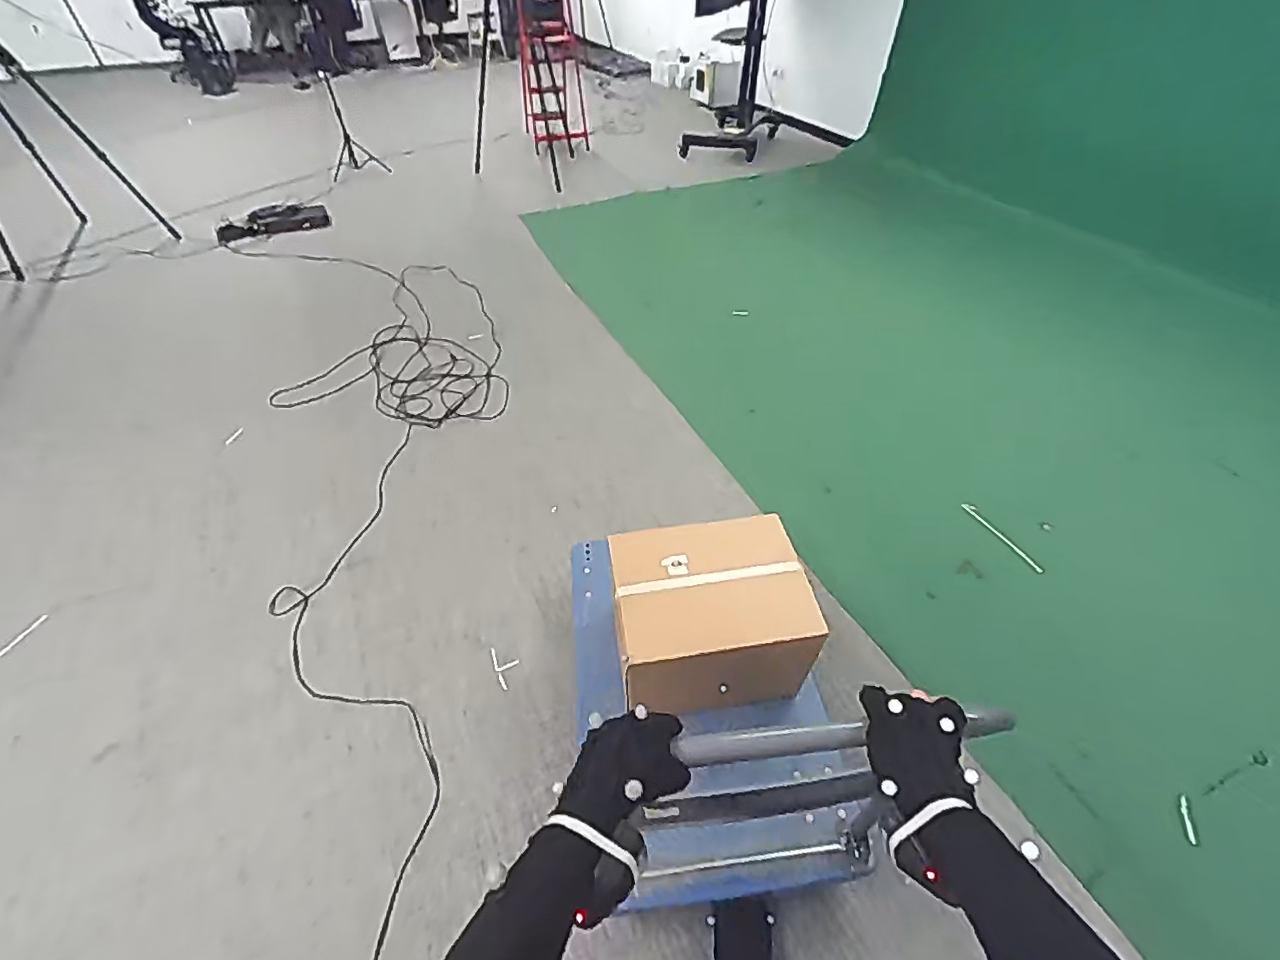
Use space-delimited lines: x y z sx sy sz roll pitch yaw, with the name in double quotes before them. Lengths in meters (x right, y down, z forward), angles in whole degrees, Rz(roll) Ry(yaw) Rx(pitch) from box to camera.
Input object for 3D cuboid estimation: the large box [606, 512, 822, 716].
"large box" 0.147 0.312 1.260 0.408 0.320 0.320 -8 47 -6
